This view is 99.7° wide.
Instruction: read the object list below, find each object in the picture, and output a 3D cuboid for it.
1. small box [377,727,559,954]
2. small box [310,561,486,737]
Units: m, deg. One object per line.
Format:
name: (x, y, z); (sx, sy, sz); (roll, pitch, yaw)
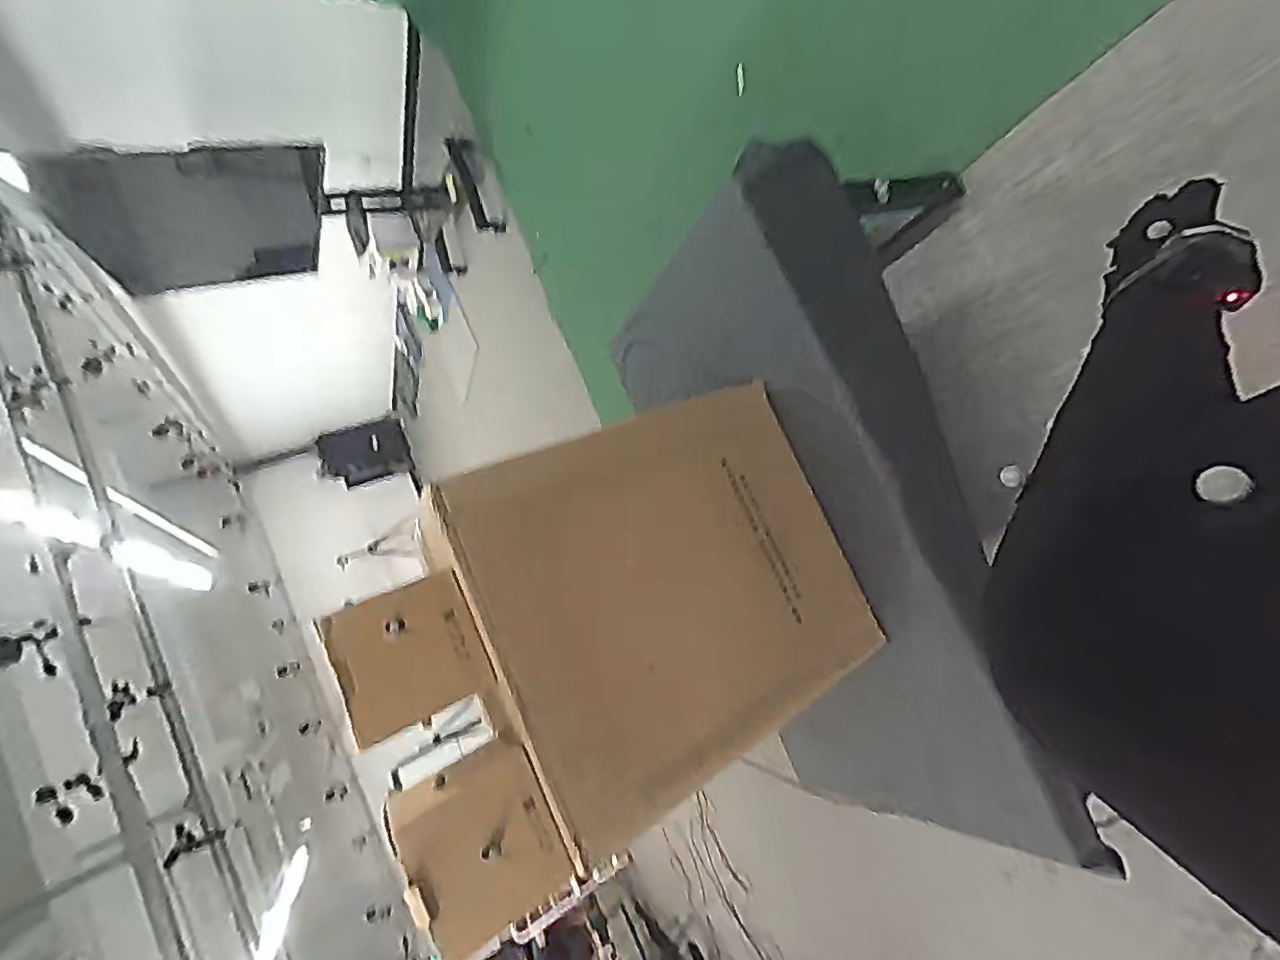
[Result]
small box: (-0.226, 0.450, 0.715); (0.179, 0.176, 0.168); (-33, 79, 57)
small box: (-0.326, 0.223, 0.739); (0.179, 0.176, 0.168); (-35, 76, 59)
